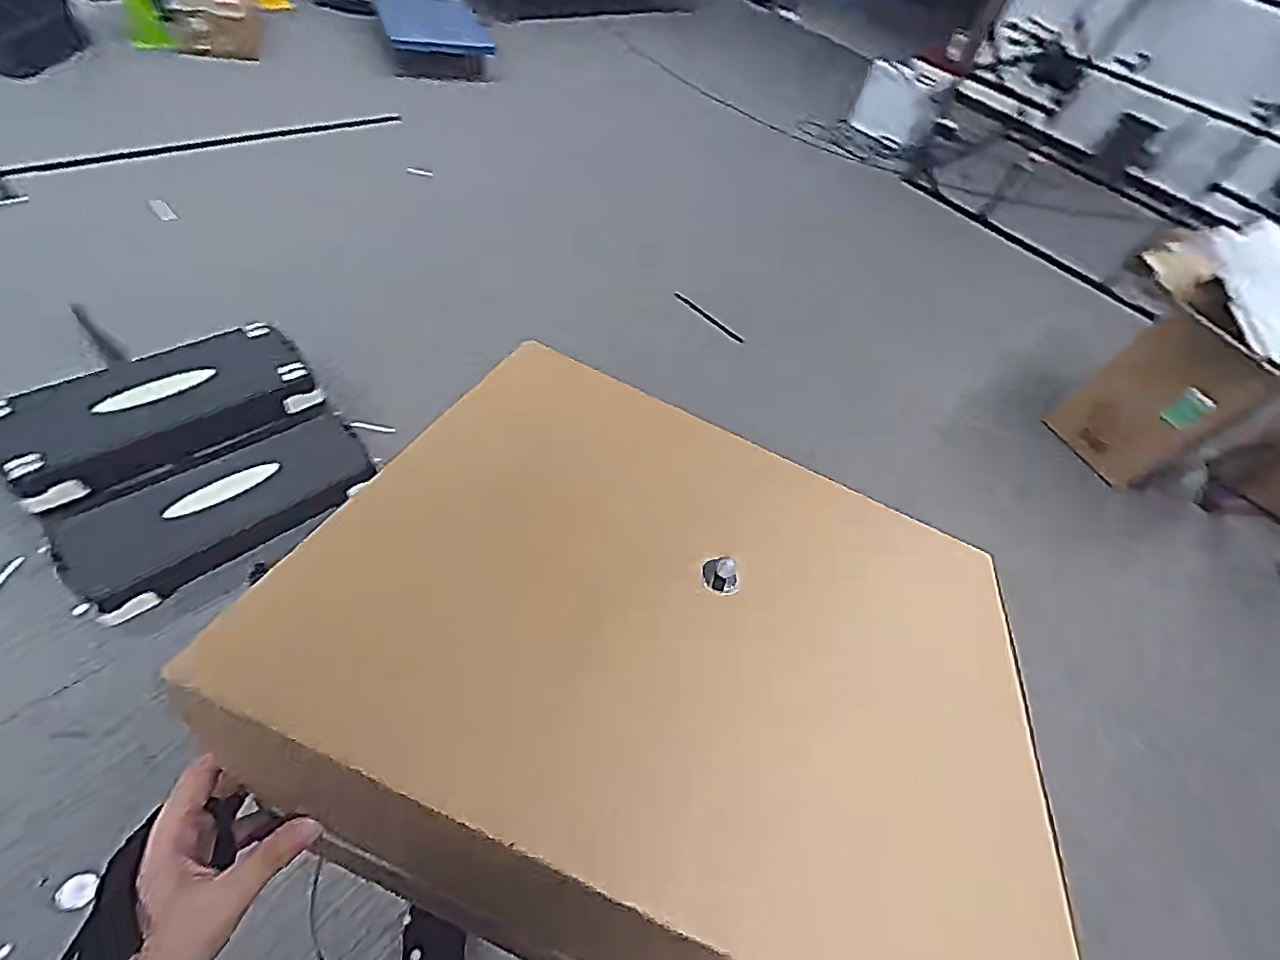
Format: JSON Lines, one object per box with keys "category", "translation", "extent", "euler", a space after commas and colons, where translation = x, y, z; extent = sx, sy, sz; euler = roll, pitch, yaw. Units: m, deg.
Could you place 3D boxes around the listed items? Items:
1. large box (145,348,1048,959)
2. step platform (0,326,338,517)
{"category": "large box", "translation": [-0.015, 0.157, 0.420], "extent": [0.408, 0.320, 0.320], "euler": [23, 45, 2]}
{"category": "step platform", "translation": [-1.218, -0.184, 1.447], "extent": [0.684, 0.204, 0.286], "euler": [-28, 65, -31]}
